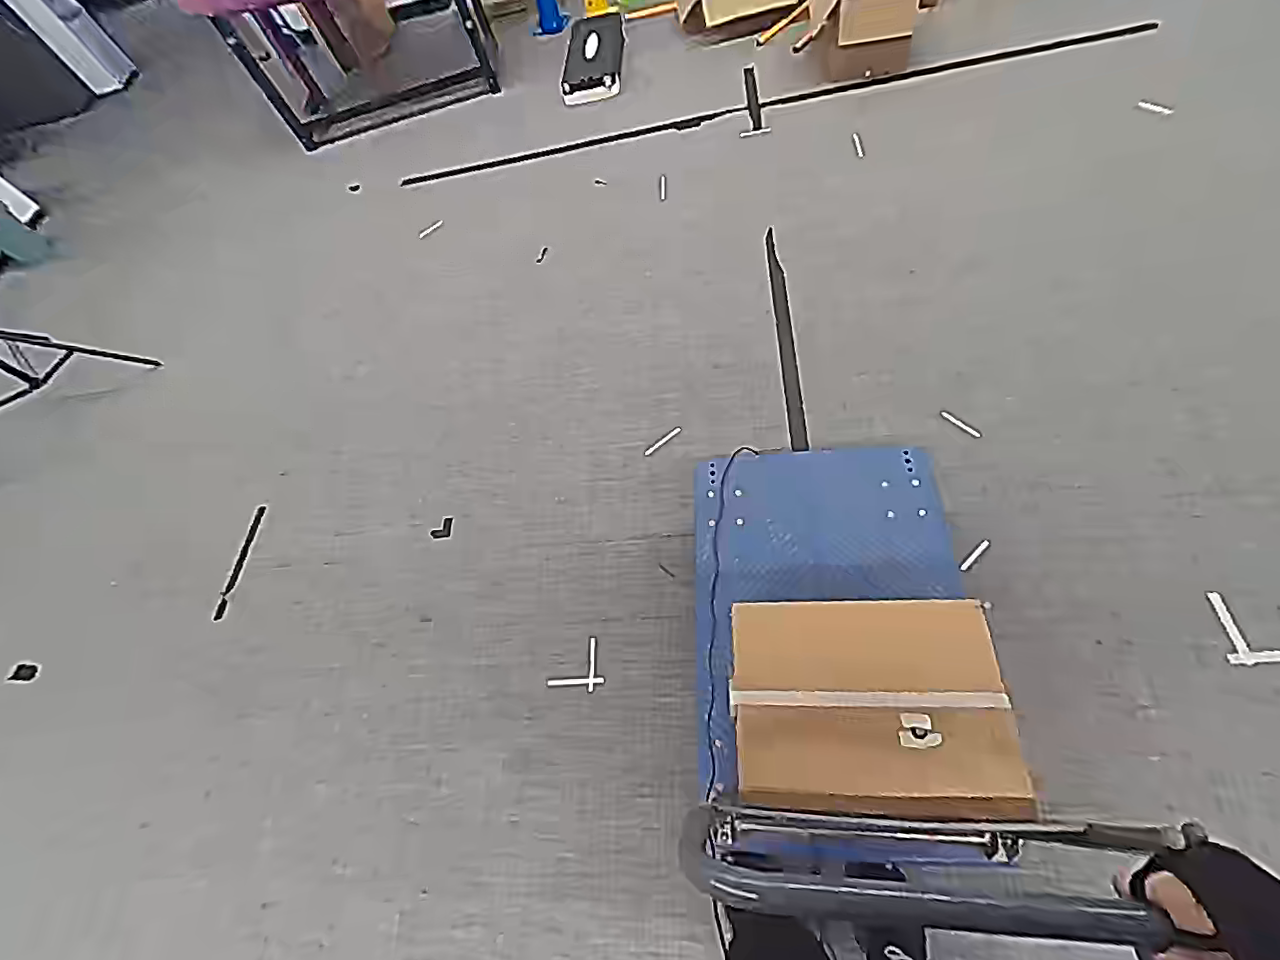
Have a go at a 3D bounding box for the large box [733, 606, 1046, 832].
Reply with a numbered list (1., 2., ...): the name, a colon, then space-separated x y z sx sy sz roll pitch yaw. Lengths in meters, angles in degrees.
1. large box: 0.378 0.422 0.953 0.408 0.320 0.320 -3 61 10
